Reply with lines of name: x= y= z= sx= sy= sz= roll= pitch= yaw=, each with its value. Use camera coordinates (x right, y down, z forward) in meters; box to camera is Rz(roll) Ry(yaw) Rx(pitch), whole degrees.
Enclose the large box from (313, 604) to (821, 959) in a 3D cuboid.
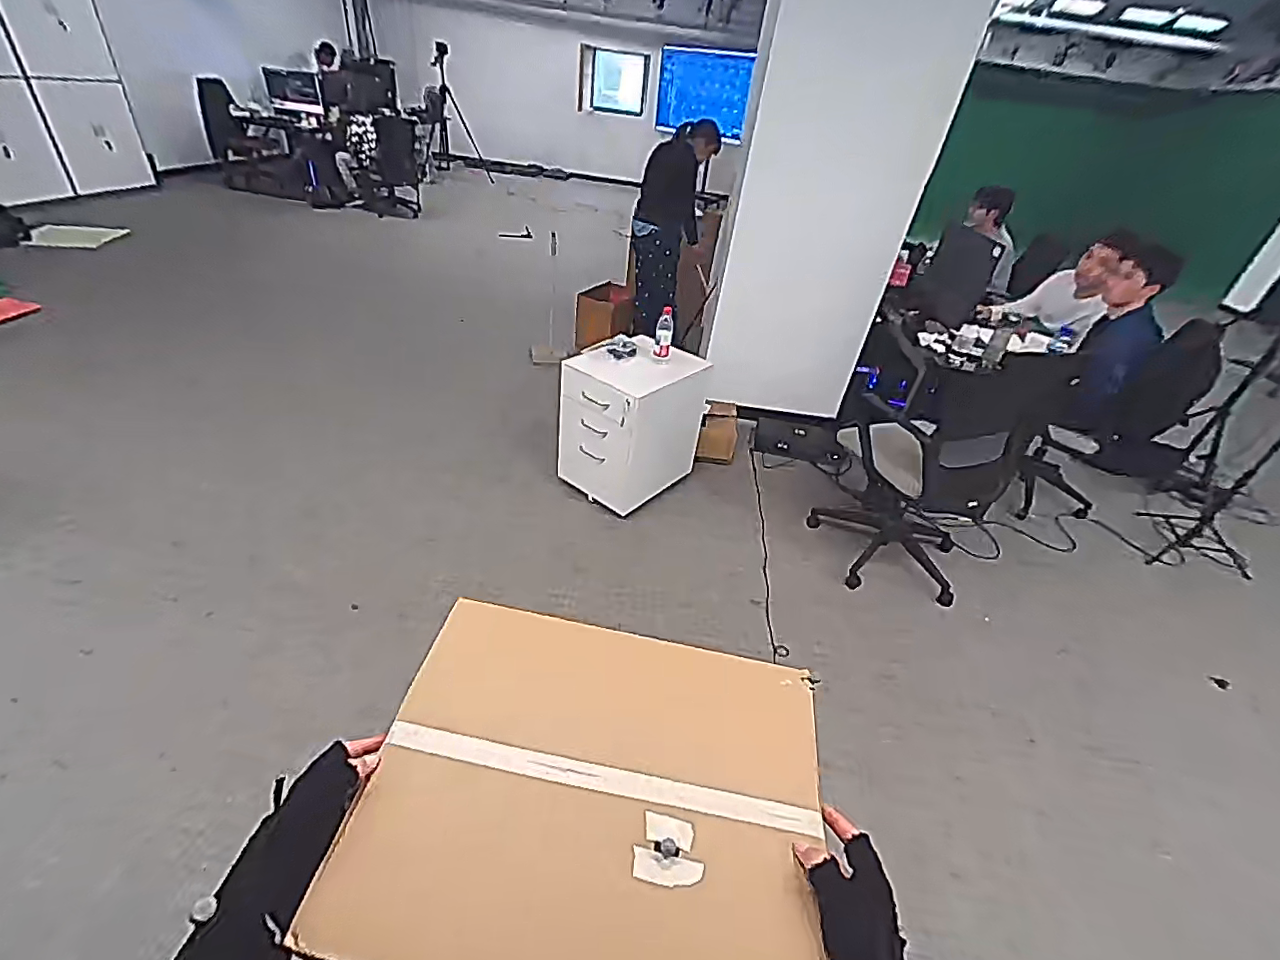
large box: x=-0.053 y=0.389 z=0.611 sx=0.408 sy=0.320 sz=0.320 roll=11 pitch=42 yaw=3
